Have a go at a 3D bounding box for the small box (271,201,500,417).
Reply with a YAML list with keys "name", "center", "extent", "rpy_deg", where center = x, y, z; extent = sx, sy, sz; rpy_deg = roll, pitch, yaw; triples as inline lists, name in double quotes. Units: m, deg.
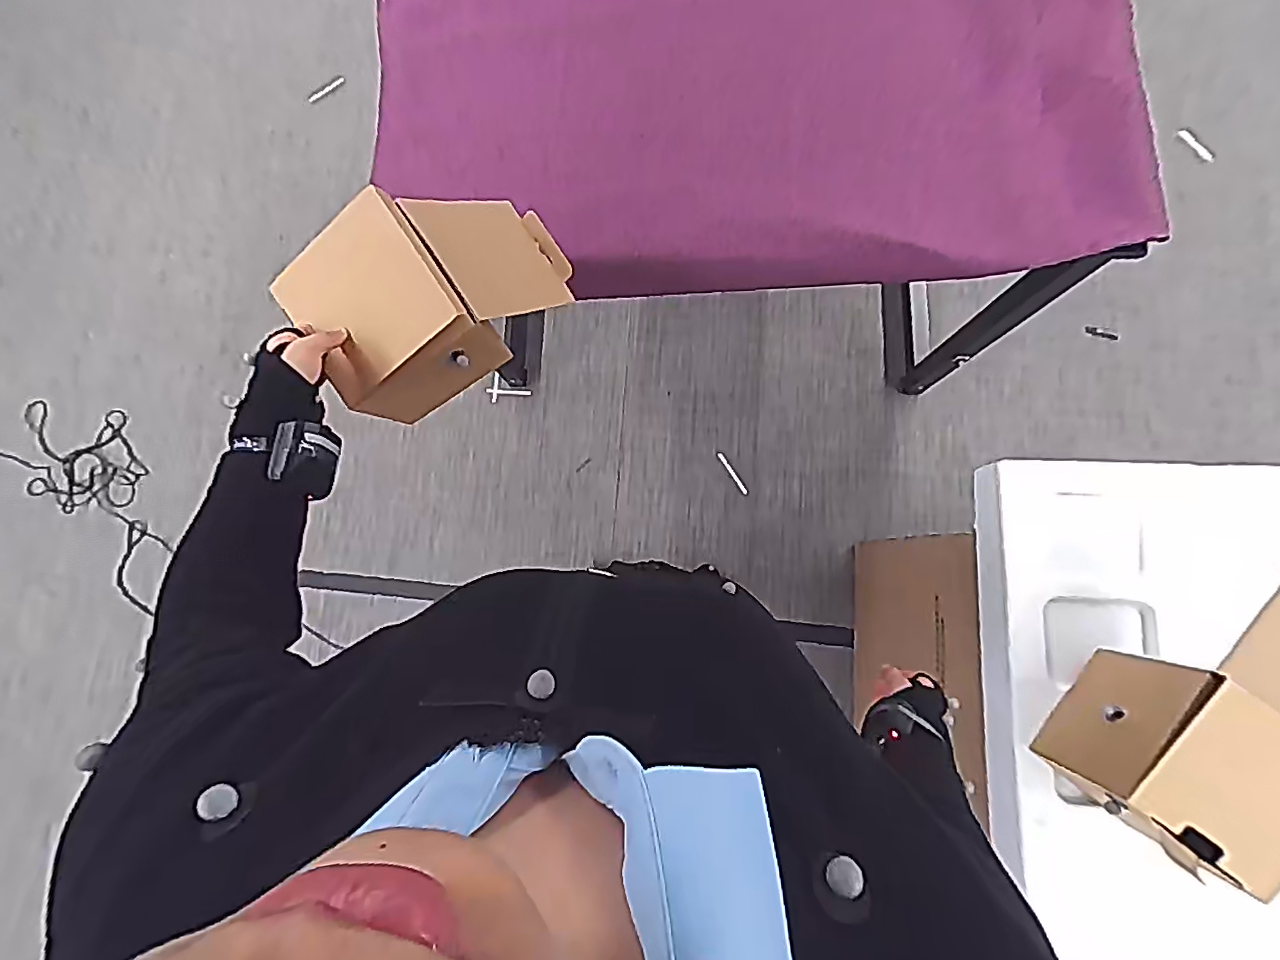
- name: "small box"
  center: [-0.294, -0.197, 0.676]
  extent: [0.179, 0.176, 0.168]
  rpy_deg: [-33, 90, 0]
